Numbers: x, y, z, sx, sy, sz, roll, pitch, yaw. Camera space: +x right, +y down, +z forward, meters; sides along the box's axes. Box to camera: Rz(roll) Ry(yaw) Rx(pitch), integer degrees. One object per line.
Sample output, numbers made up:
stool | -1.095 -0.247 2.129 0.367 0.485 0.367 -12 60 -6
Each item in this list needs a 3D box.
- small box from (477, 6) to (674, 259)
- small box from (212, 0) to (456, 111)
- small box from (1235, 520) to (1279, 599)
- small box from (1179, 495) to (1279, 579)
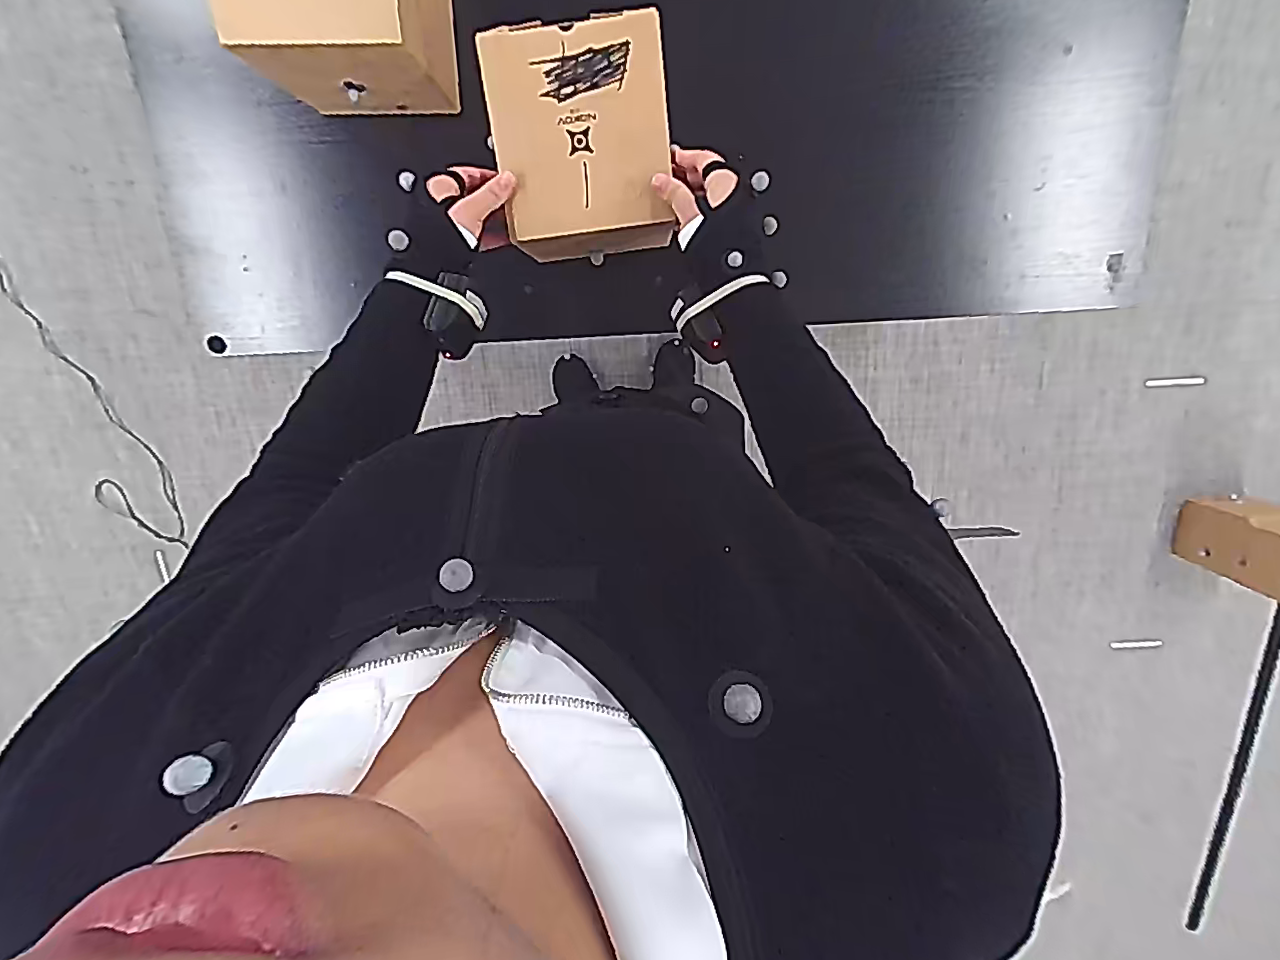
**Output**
small box | -0.057 -0.348 0.578 0.168 0.176 0.179 -6 106 2
small box | -0.295 -0.494 0.539 0.168 0.176 0.179 -1 105 0
small box | 1.621 0.197 1.300 0.179 0.176 0.168 -6 106 1
small box | 1.624 0.150 1.458 0.168 0.176 0.179 -4 105 1
